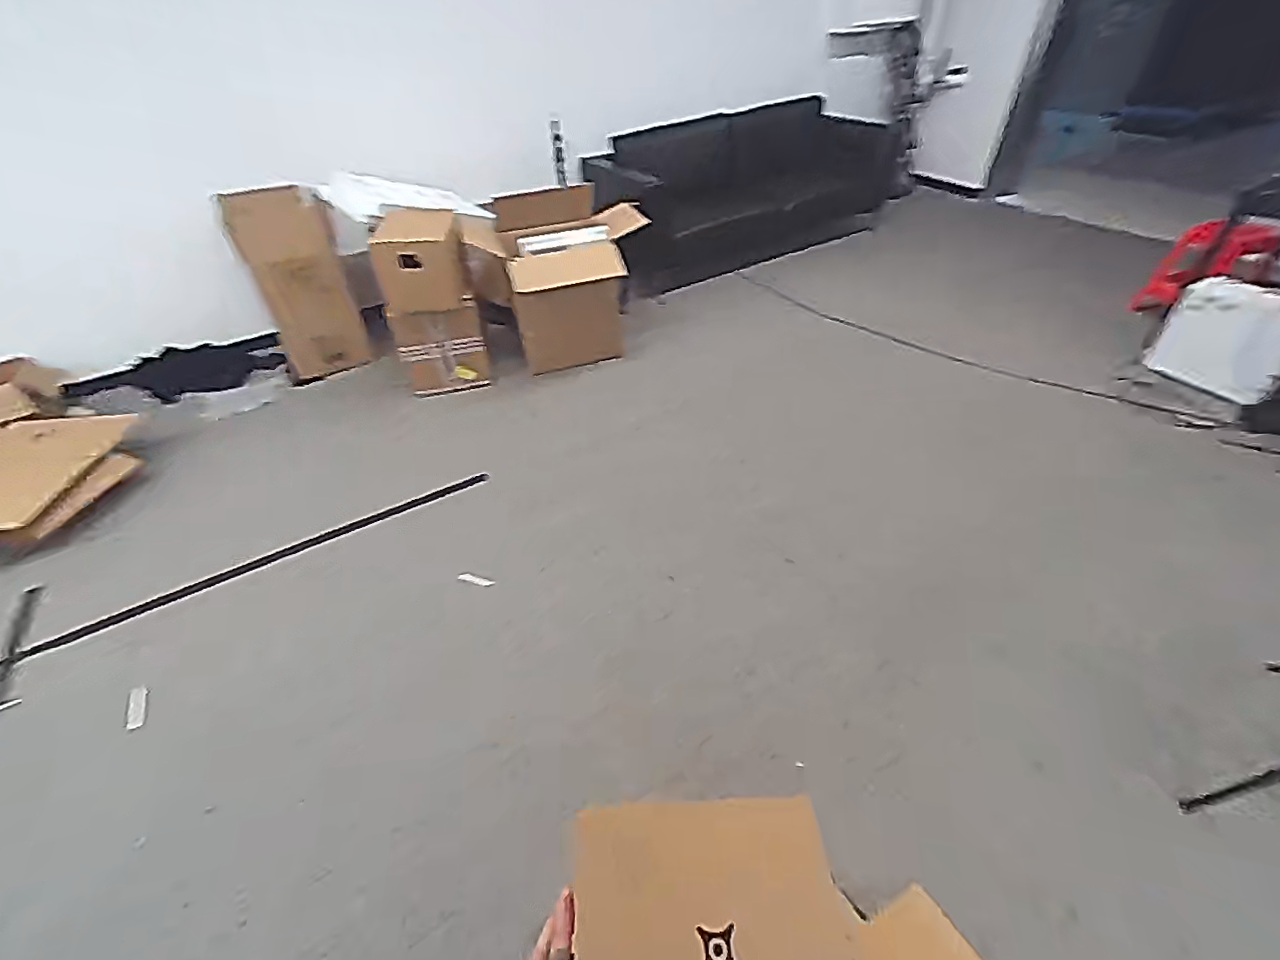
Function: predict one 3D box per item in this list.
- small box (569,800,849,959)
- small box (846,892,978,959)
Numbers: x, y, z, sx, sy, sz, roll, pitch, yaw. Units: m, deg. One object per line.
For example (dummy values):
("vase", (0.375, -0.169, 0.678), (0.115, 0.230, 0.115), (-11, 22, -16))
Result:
("small box", (0.036, 0.343, 0.371), (0.168, 0.176, 0.179), (2, 45, -7))
("small box", (0.268, 0.567, 0.542), (0.179, 0.176, 0.168), (-25, 46, -20))
